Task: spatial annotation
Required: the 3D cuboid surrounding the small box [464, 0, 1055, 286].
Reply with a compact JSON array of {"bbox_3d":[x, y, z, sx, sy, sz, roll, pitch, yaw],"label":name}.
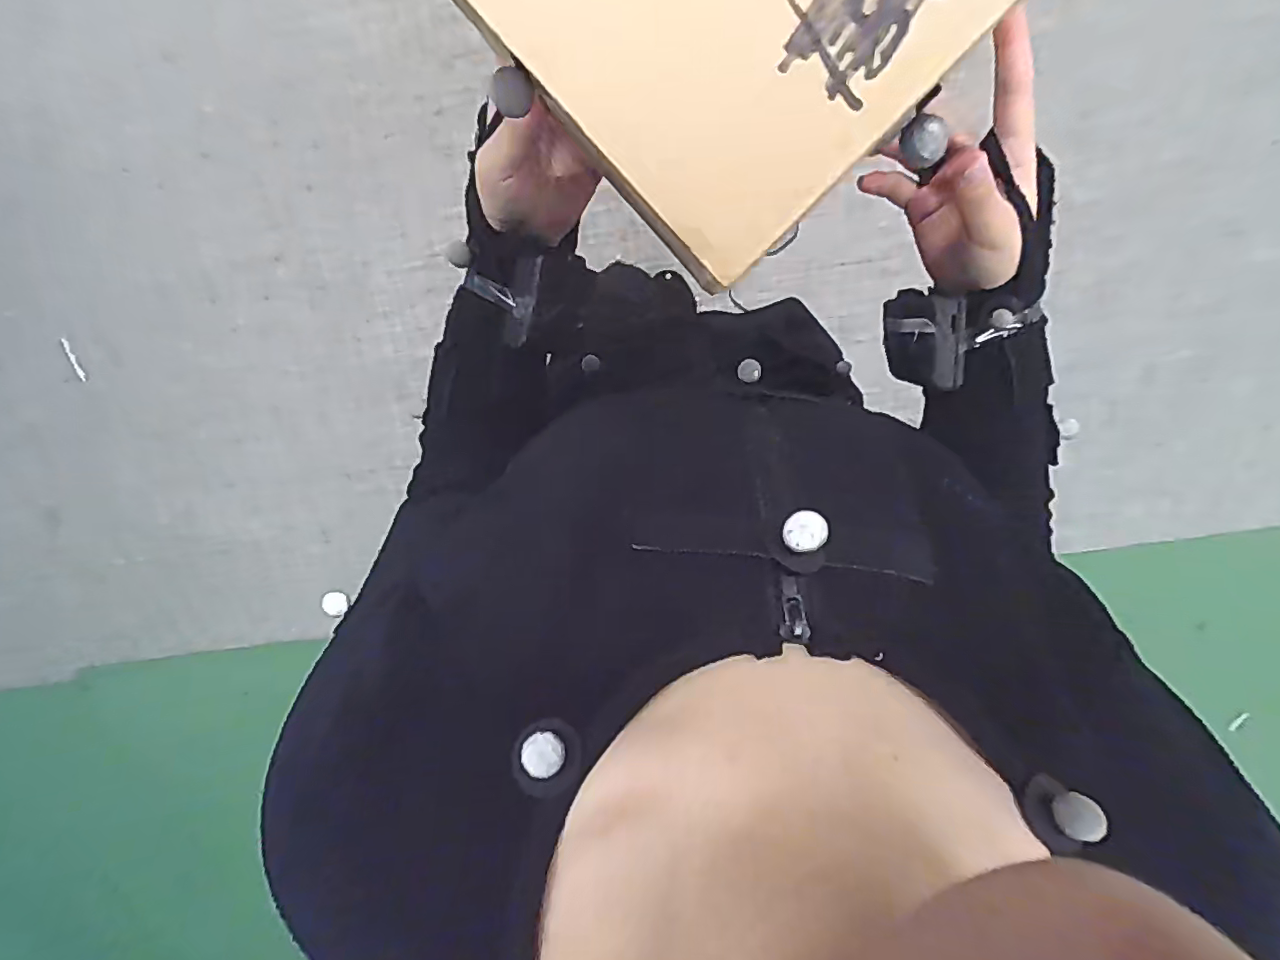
[{"bbox_3d":[0.038,-0.189,0.195,0.168,0.176,0.179,-42,98,17],"label":"small box"}]
